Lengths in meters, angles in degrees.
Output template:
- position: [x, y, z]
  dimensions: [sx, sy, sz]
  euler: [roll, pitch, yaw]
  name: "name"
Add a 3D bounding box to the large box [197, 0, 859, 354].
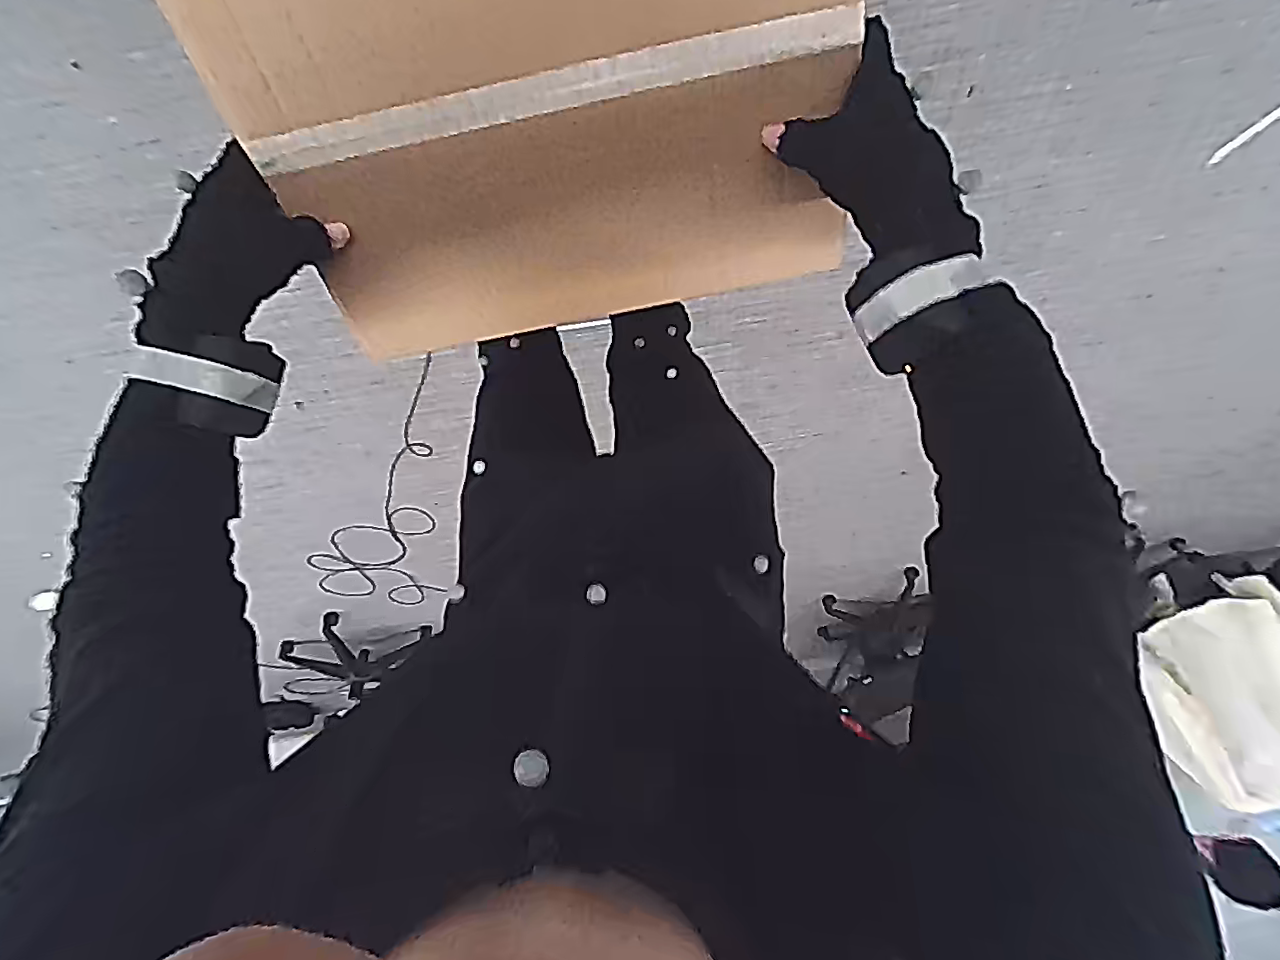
- position: [-0.067, -0.354, 0.475]
  dimensions: [0.408, 0.320, 0.320]
  euler: [-11, 133, 2]
  name: "large box"
